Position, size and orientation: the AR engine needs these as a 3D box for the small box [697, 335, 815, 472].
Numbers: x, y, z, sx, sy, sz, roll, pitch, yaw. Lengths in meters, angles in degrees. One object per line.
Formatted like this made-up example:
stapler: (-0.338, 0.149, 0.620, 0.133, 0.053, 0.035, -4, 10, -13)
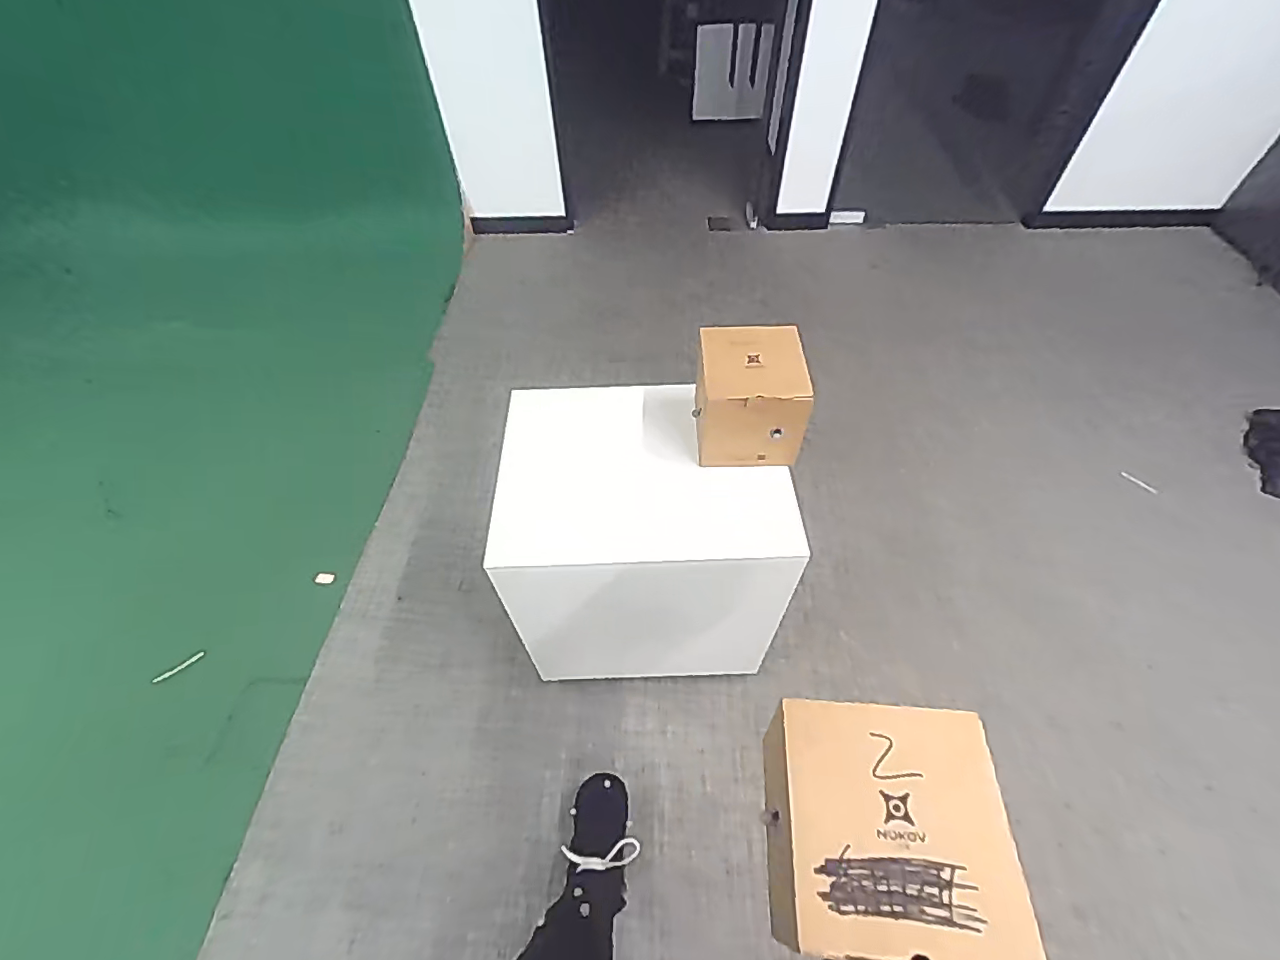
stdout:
small box: (0.188, -0.127, 0.927, 0.168, 0.176, 0.179, 0, 51, 1)
